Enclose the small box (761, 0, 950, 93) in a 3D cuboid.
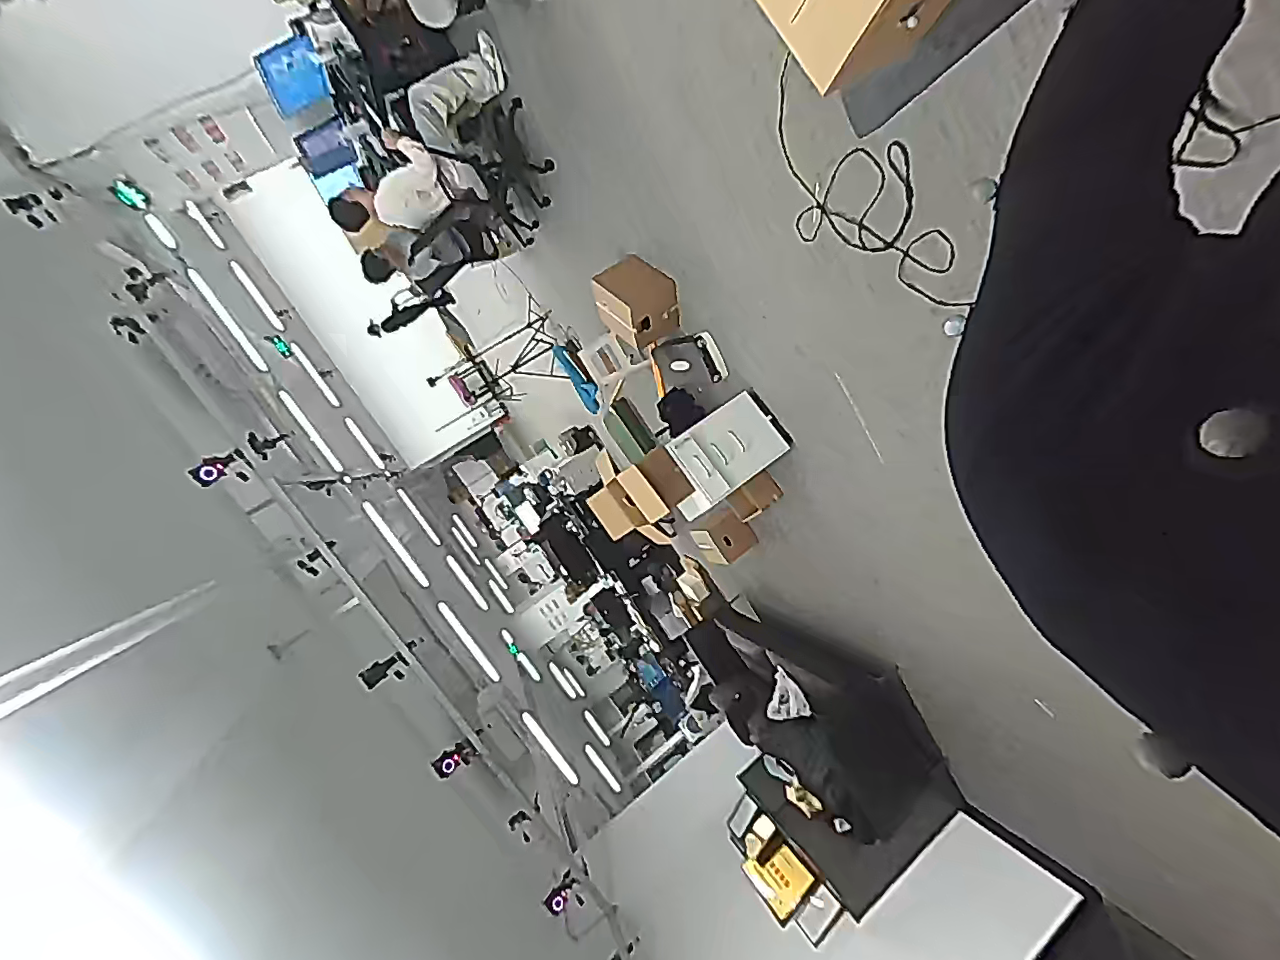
[{"bbox_3d":[0.260,-0.586,0.585,0.168,0.176,0.179,55,167,-1],"label":"small box"}]
